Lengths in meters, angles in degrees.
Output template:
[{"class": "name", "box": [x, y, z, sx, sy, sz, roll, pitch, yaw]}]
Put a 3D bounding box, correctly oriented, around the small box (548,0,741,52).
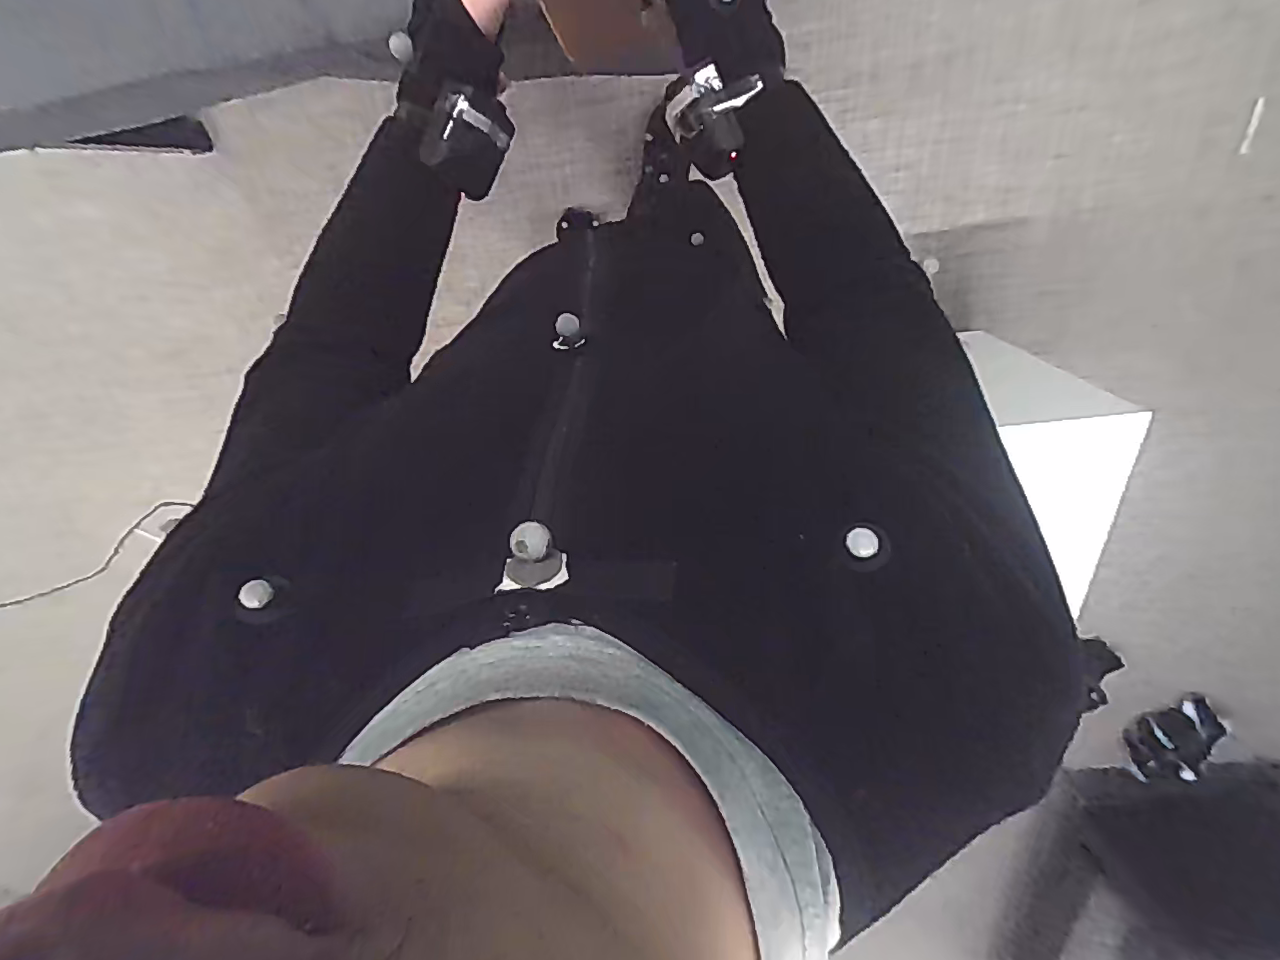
[{"class": "small box", "box": [-0.001, -0.480, 0.409, 0.179, 0.176, 0.168, -2, 86, 14]}]
